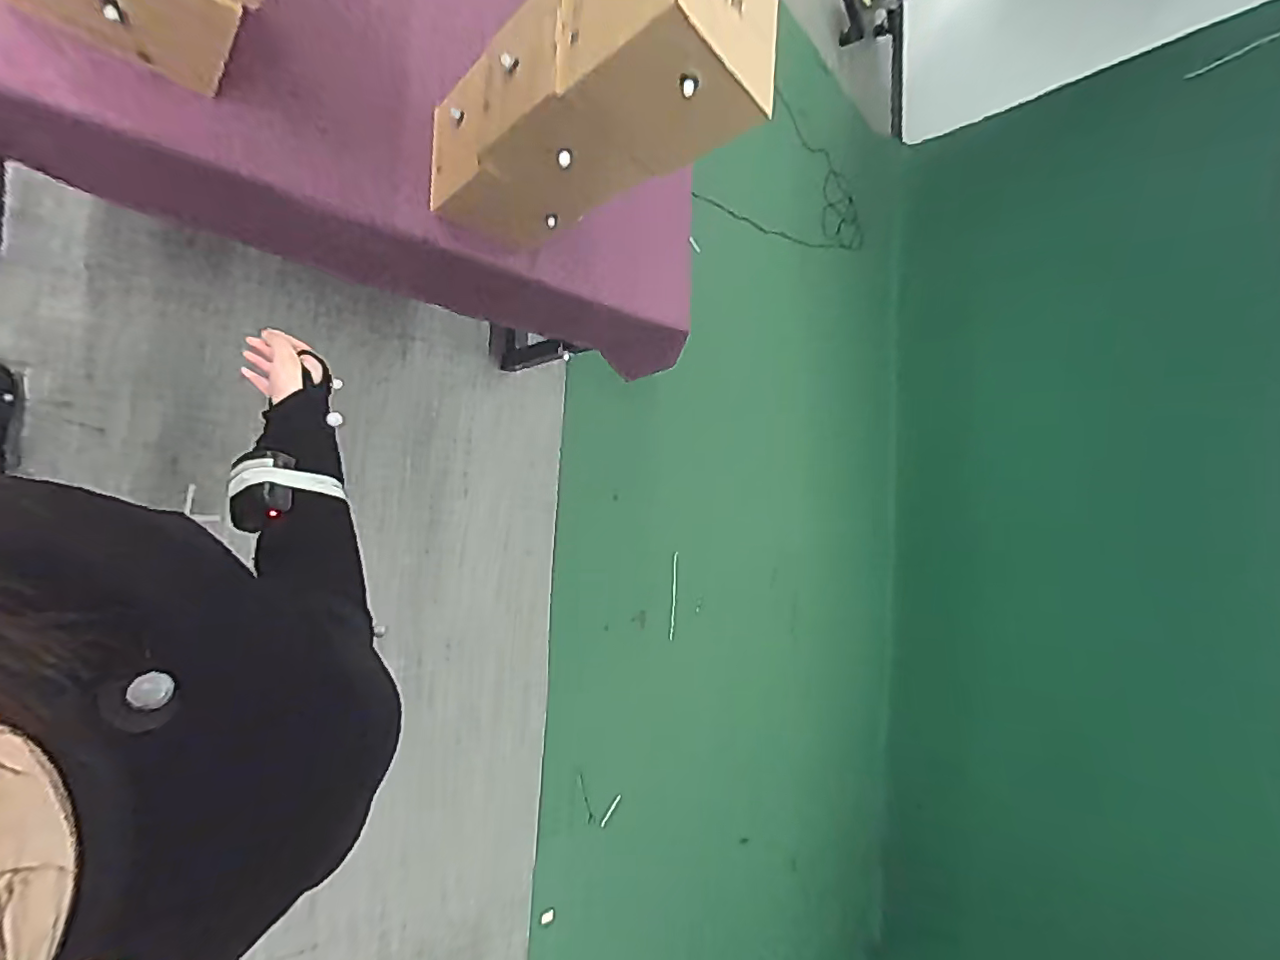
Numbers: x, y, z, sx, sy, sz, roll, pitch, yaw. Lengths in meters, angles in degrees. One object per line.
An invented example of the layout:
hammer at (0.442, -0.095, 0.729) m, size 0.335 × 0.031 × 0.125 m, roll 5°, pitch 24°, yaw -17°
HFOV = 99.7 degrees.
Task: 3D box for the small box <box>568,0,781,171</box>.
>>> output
small box at (0.039, -0.488, 0.606) m, size 0.179 × 0.176 × 0.168 m, roll 10°, pitch 82°, yaw -47°

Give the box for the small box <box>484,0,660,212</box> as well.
small box at (-0.086, -0.489, 0.714) m, size 0.179 × 0.176 × 0.168 m, roll 10°, pitch 82°, yaw -45°

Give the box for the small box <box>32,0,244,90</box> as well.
small box at (-0.494, -0.539, 0.529) m, size 0.168 × 0.176 × 0.179 m, roll 7°, pitch 84°, yaw -46°

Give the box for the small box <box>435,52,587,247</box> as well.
small box at (-0.198, -0.487, 0.834) m, size 0.179 × 0.176 × 0.168 m, roll 5°, pitch 86°, yaw -46°
